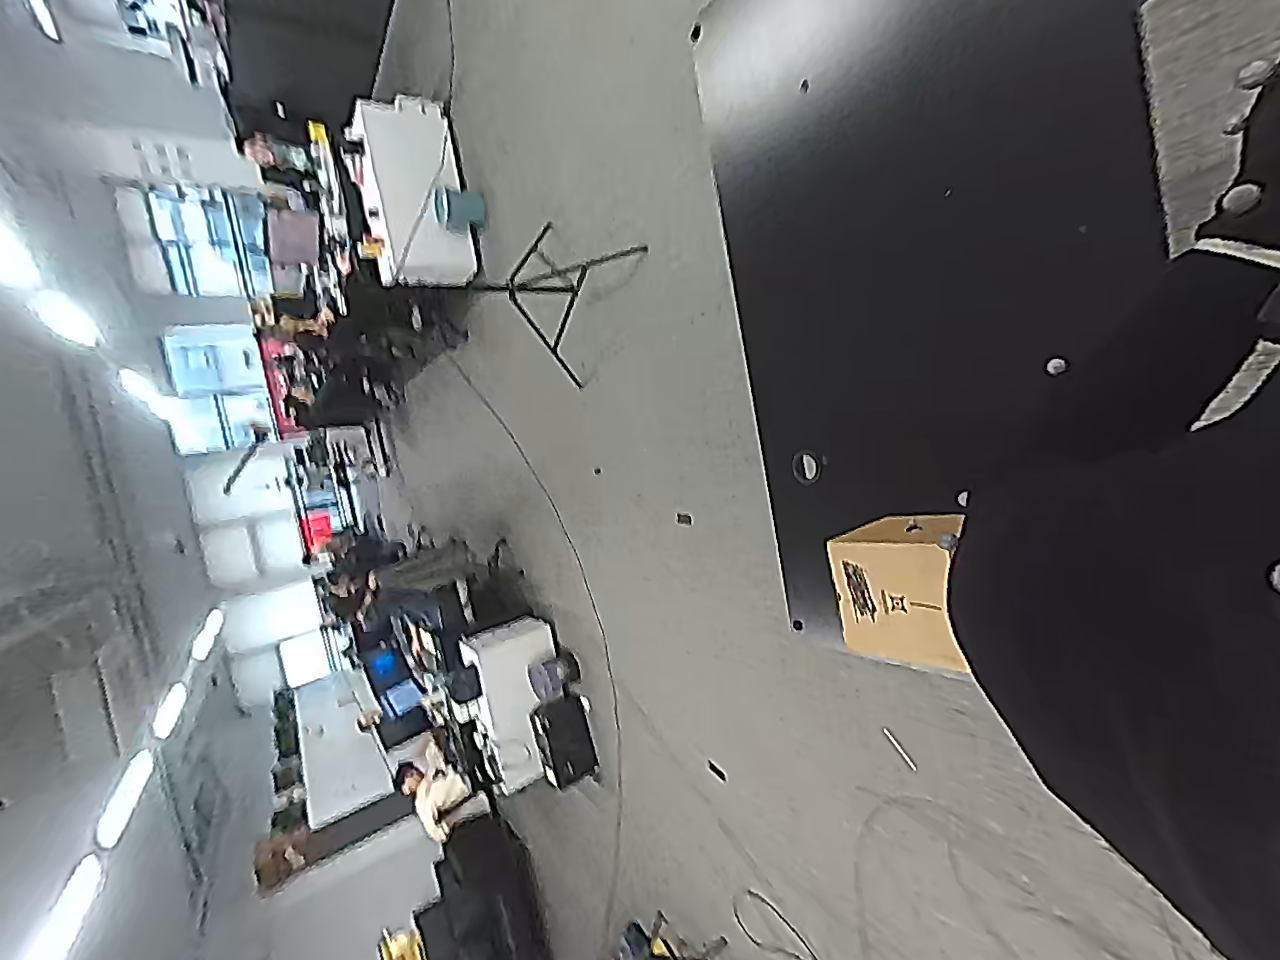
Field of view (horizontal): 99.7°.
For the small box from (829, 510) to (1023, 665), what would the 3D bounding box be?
[{"bbox_3d":[0.407,0.141,0.776,0.179,0.176,0.168,-9,94,55],"label":"small box"}]
